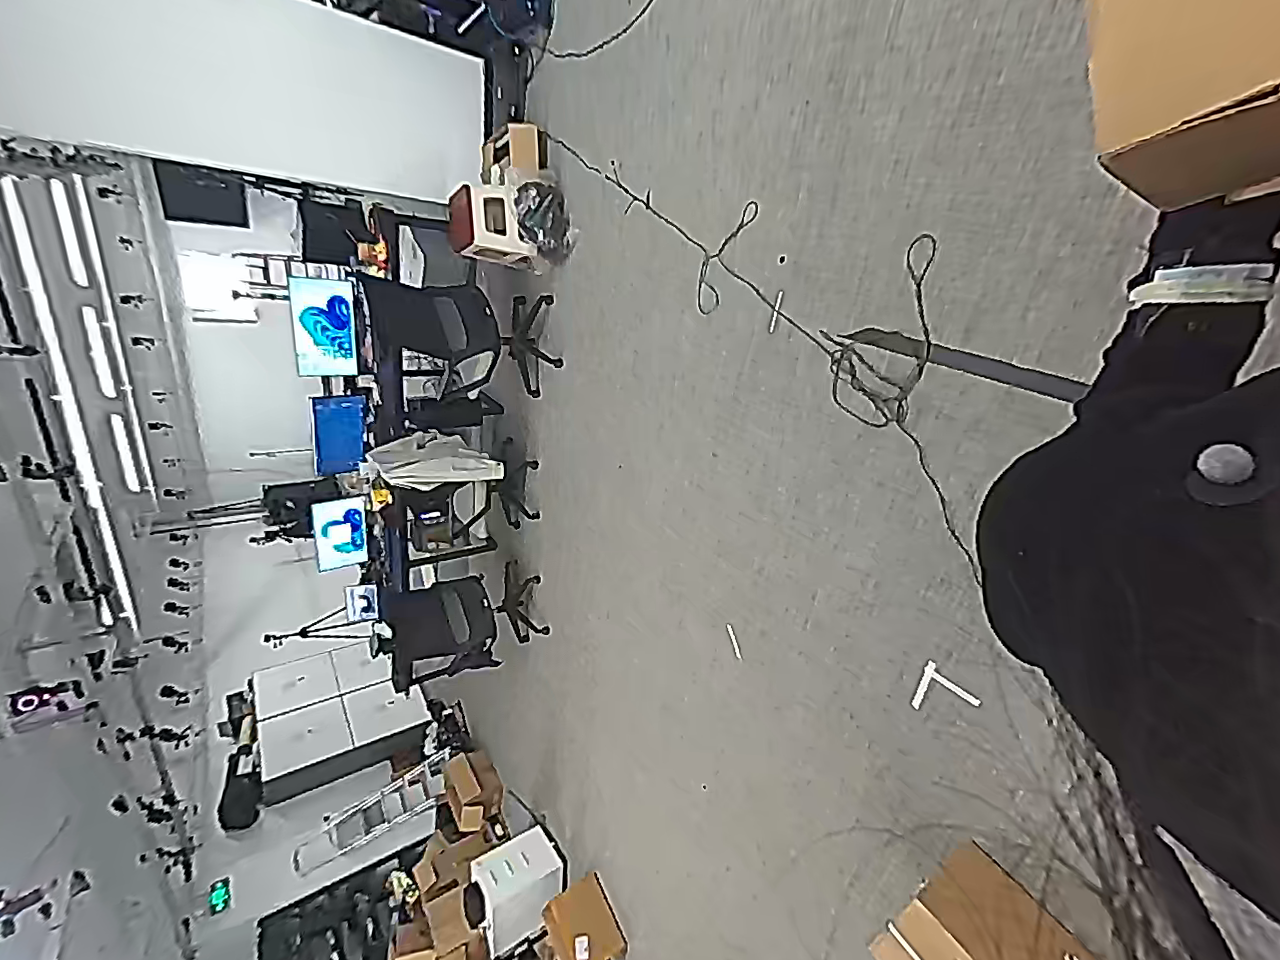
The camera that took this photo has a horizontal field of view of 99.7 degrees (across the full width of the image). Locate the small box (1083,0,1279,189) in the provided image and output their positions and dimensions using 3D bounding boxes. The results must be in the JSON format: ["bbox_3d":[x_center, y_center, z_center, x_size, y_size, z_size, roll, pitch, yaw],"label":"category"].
[{"bbox_3d":[0.331,-0.260,0.251,0.168,0.176,0.179,-5,94,52],"label":"small box"}]
